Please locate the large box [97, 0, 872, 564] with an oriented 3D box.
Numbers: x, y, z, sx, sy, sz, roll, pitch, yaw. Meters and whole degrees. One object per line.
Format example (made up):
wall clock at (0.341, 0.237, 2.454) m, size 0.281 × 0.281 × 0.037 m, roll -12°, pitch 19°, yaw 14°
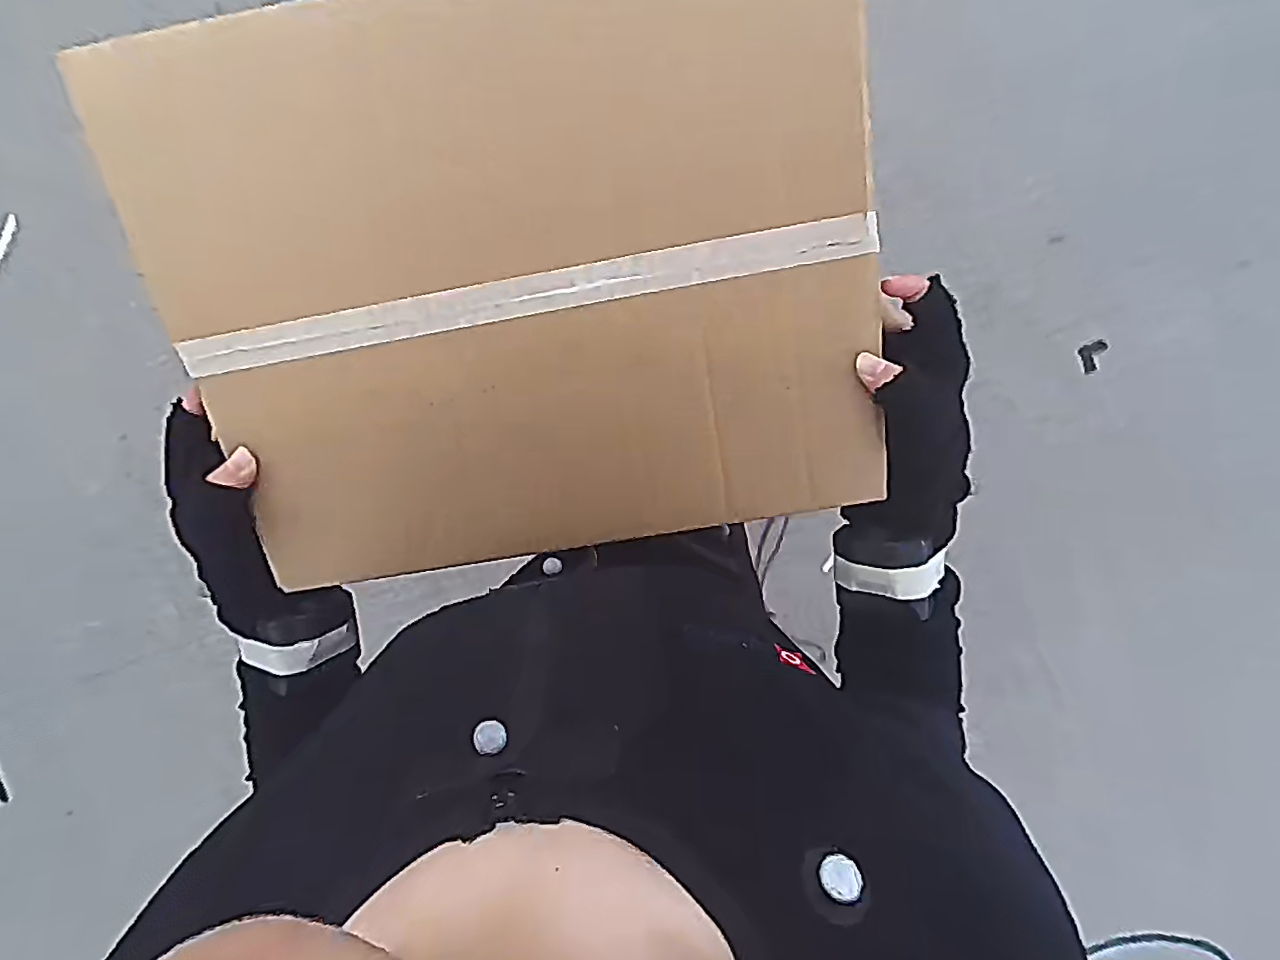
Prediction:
large box at (-0.072, -0.161, 0.460) m, size 0.408 × 0.320 × 0.320 m, roll -9°, pitch 108°, yaw 3°
